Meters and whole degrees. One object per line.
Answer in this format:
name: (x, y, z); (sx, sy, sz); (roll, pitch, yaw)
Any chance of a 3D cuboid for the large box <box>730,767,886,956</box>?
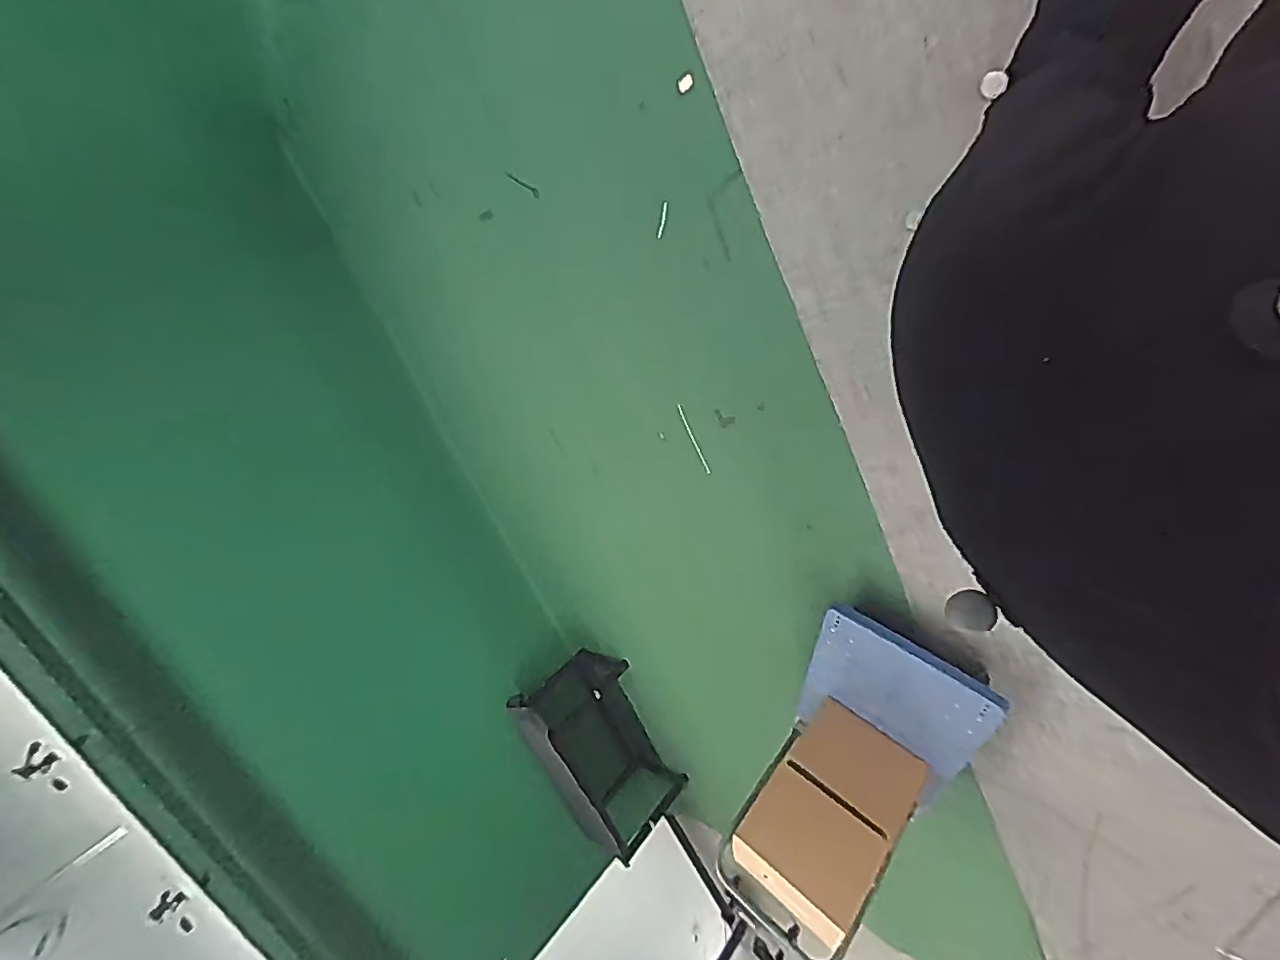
large box: (0.565, 1.293, 1.854); (0.408, 0.320, 0.320); (29, 143, 34)
